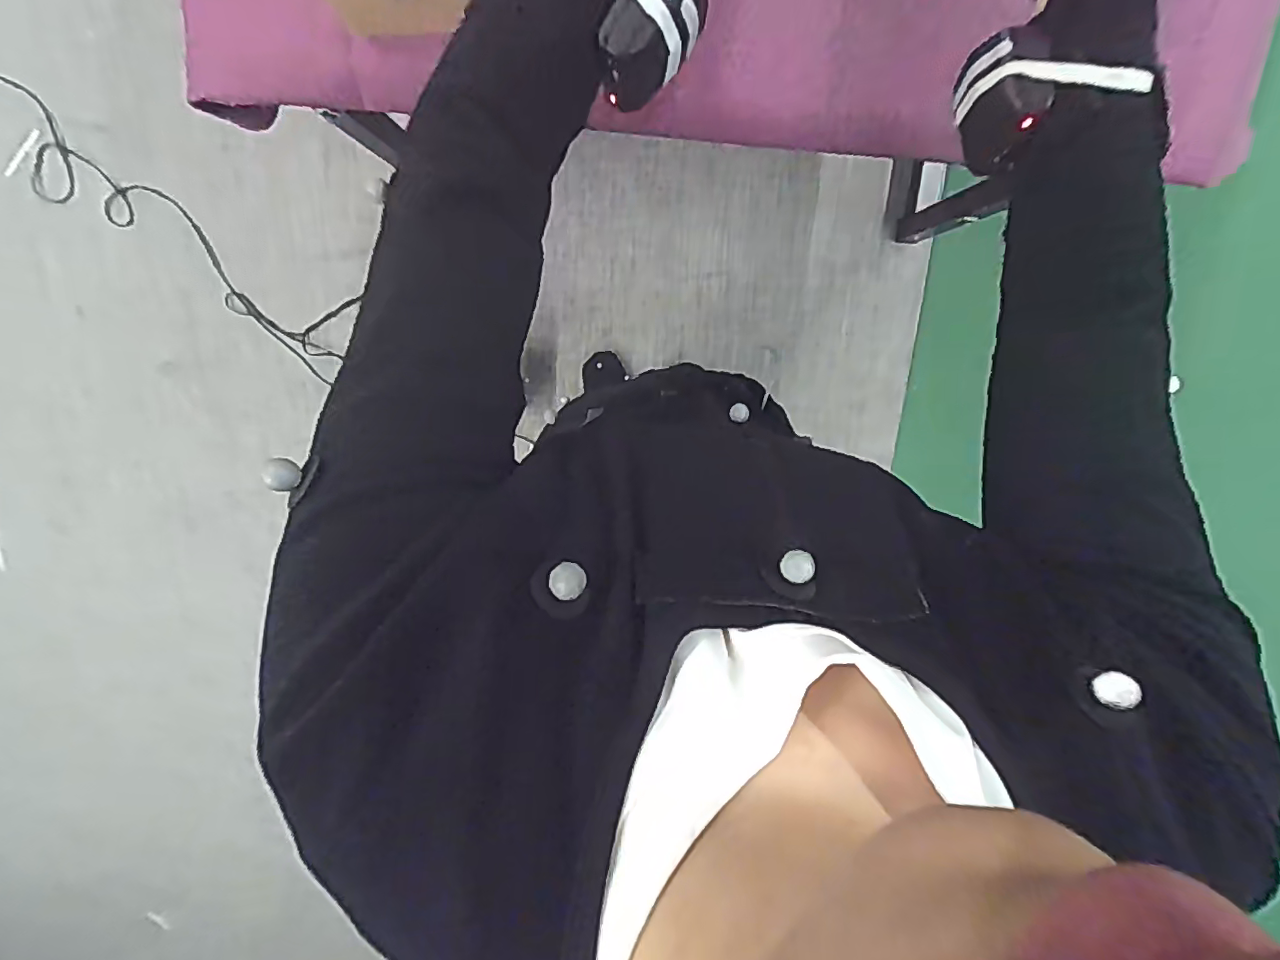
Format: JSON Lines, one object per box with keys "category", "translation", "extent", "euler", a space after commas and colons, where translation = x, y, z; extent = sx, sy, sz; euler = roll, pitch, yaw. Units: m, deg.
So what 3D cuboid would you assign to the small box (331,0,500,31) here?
{"category": "small box", "translation": [-0.235, -0.566, 0.512], "extent": [0.179, 0.176, 0.168], "euler": [-2, 103, 0]}
